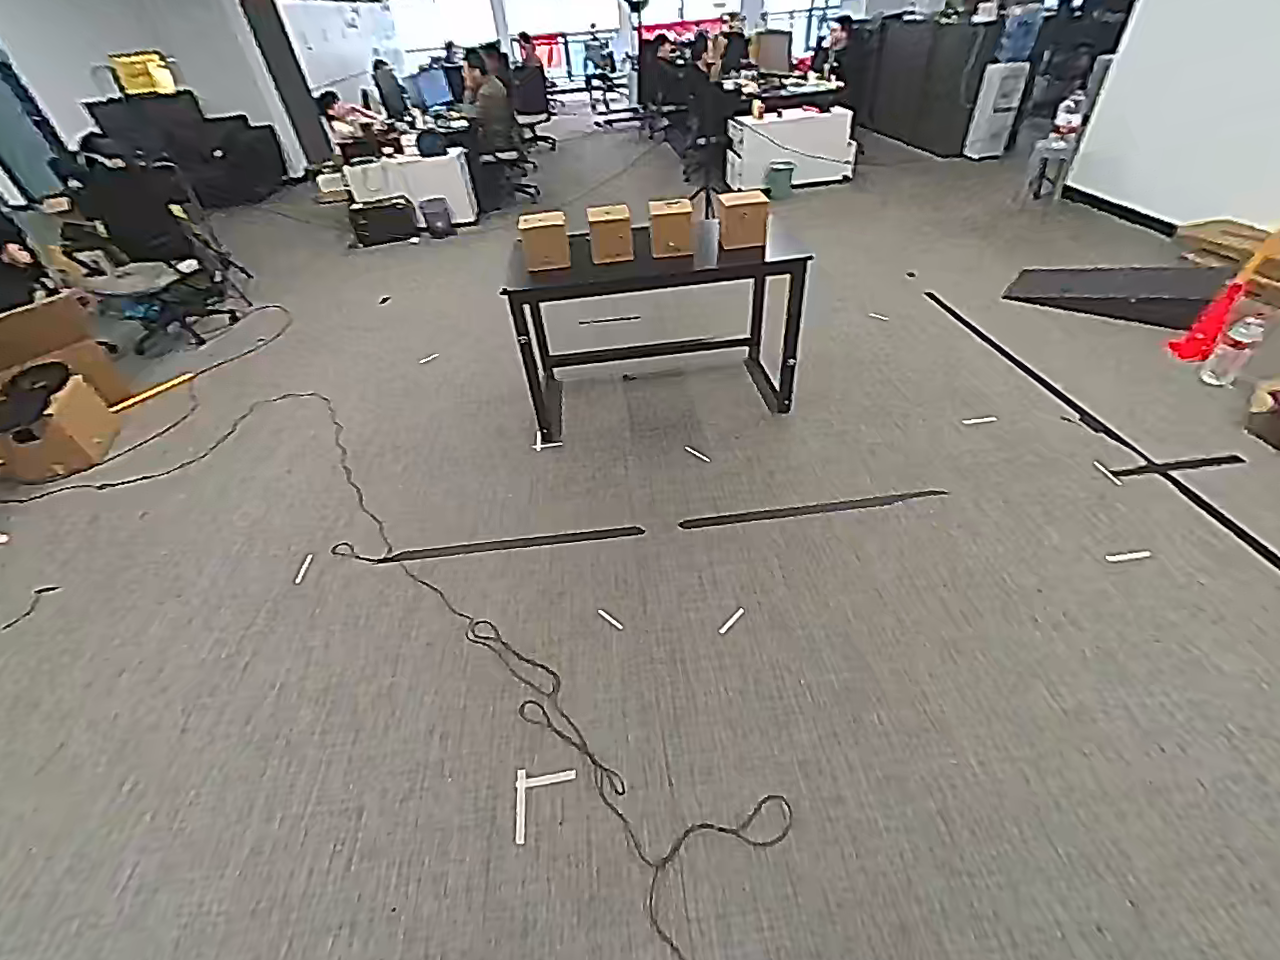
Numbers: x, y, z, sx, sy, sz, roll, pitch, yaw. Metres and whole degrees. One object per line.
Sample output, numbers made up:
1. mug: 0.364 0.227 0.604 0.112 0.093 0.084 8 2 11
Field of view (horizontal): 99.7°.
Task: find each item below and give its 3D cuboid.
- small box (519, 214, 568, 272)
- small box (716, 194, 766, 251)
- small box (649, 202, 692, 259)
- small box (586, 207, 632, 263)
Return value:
1. small box: -0.387 -0.963 2.199 0.179 0.176 0.168 -7 41 -4
2. small box: 0.411 -1.052 2.214 0.179 0.176 0.168 -6 41 0
3. small box: 0.121 -1.020 2.209 0.168 0.176 0.179 -4 42 1
4. small box: -0.127 -0.998 2.214 0.168 0.176 0.179 -7 40 -3
